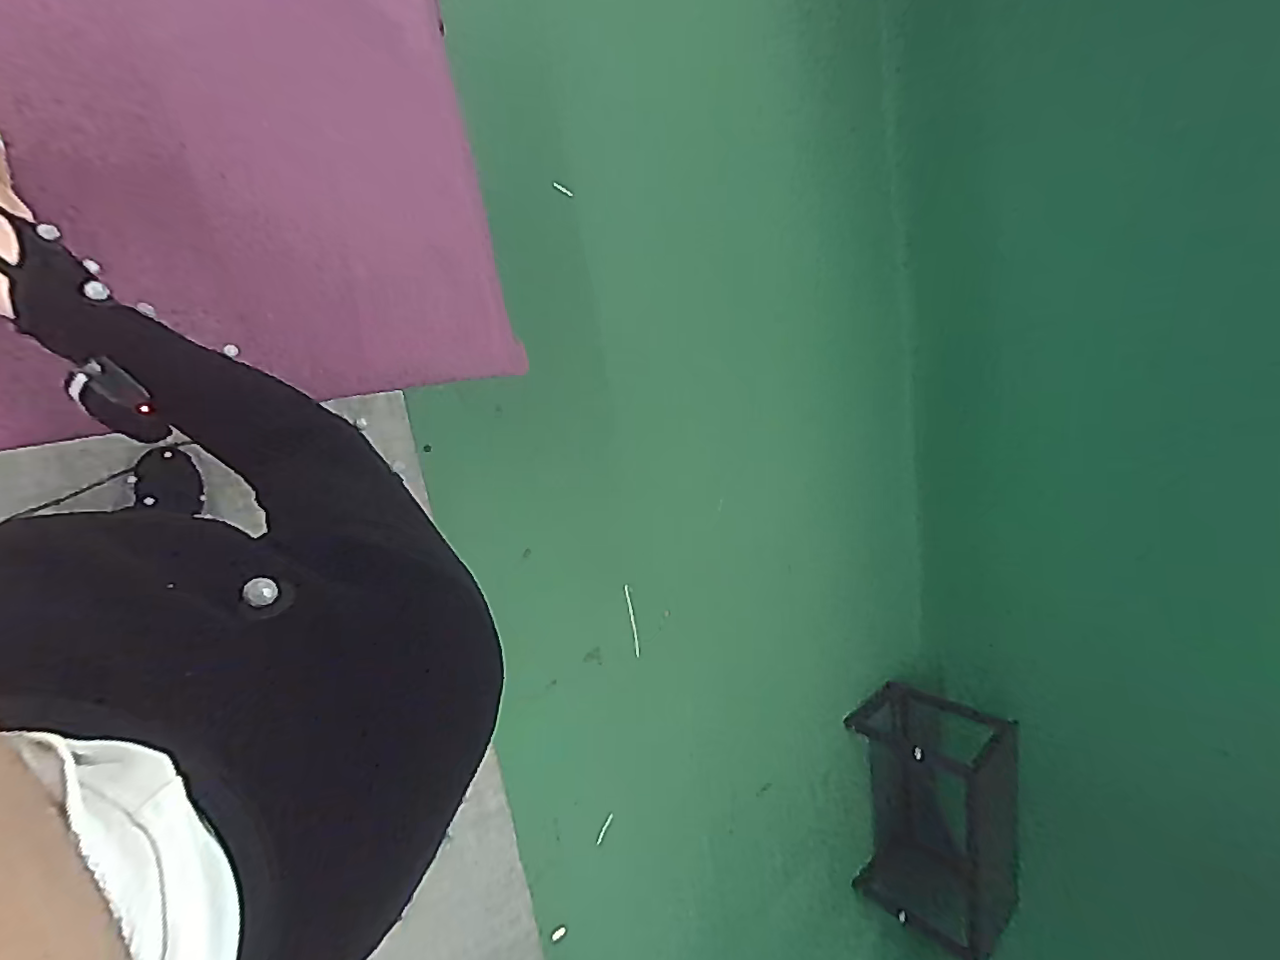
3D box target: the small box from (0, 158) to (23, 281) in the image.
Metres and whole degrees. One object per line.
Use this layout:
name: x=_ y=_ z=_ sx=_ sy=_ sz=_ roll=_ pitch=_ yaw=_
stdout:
small box: x=-0.676 y=-0.293 z=0.457 sx=0.168 sy=0.176 sz=0.179 roll=-13 pitch=89 yaw=-40
